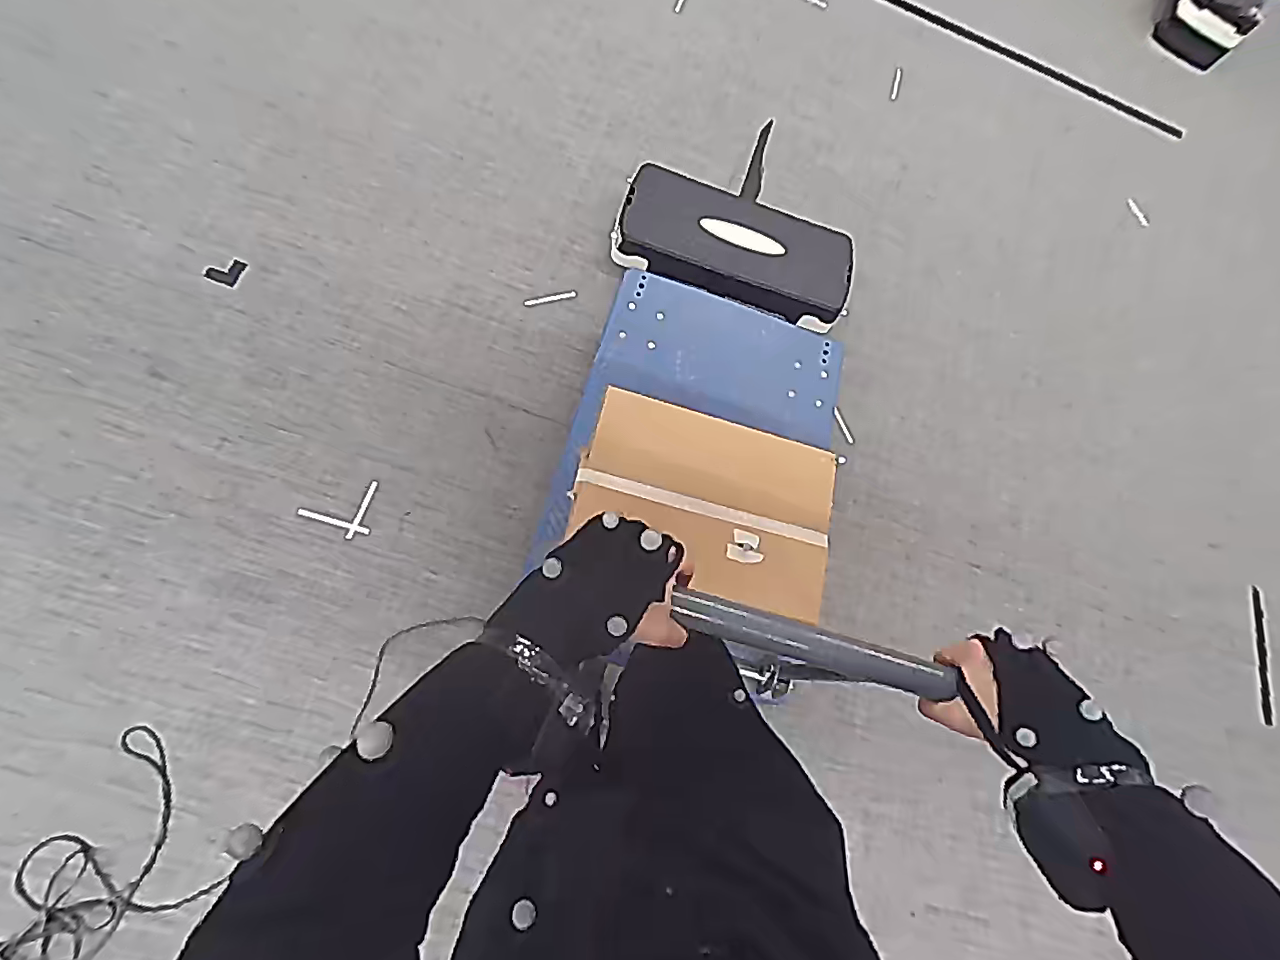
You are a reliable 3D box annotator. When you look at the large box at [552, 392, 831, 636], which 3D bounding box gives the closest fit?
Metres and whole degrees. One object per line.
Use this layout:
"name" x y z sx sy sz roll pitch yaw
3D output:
"large box" 0.075 0.087 0.986 0.408 0.320 0.320 16 72 -8
